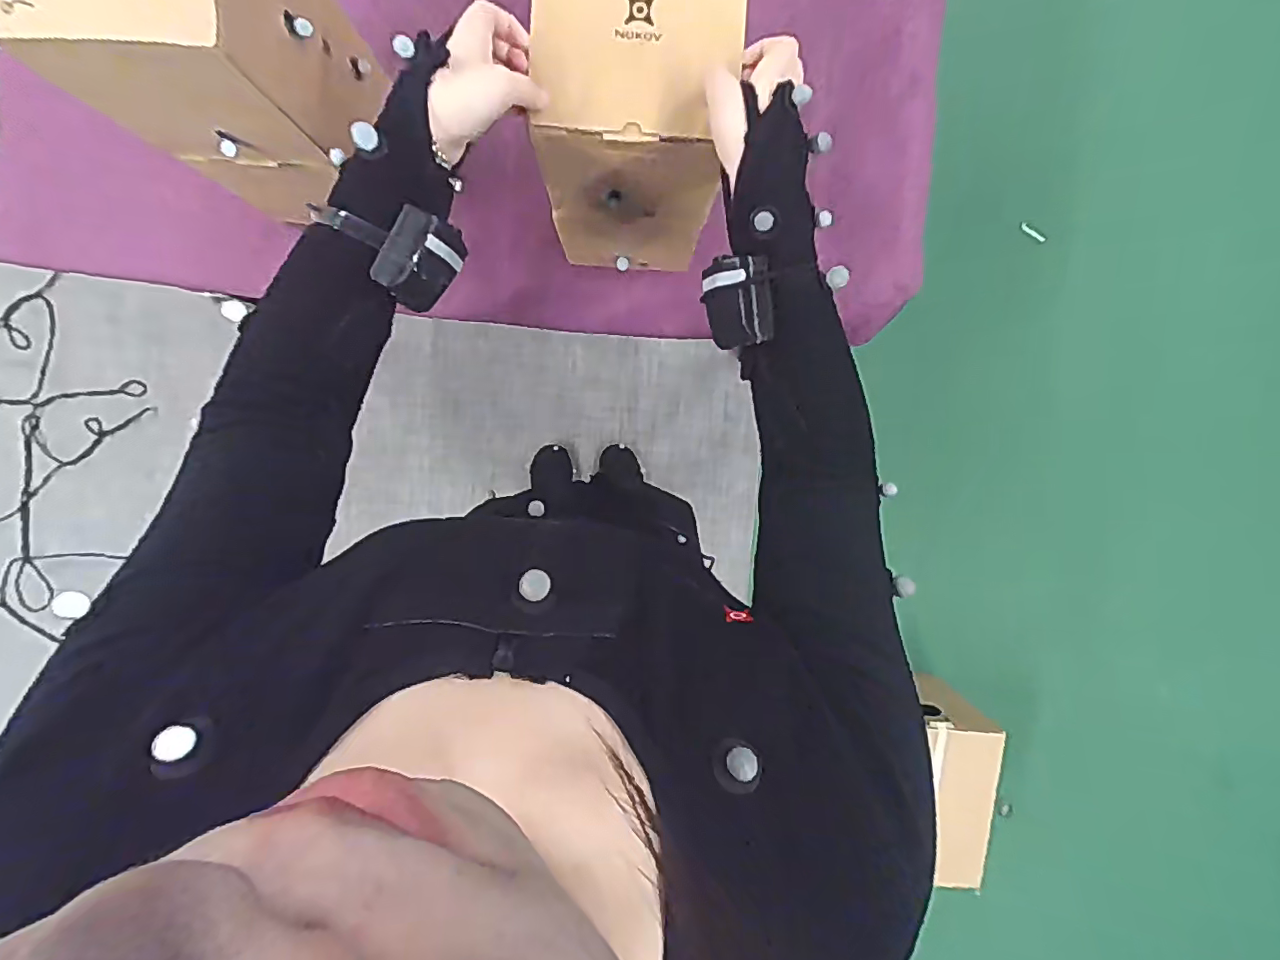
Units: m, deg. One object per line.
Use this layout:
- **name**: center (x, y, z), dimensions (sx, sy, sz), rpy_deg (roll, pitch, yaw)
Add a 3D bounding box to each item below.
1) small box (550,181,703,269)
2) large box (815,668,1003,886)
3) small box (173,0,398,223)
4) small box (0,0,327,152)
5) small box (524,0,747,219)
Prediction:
- **small box**: center (-0.010, -0.372, 0.647), dimensions (0.168, 0.176, 0.179), rpy_deg (4, 96, -1)
- **large box**: center (0.682, 0.756, 1.429), dimensions (0.320, 0.320, 0.408), rpy_deg (6, 96, -1)
- **small box**: center (-0.401, -0.429, 0.635), dimensions (0.168, 0.176, 0.179), rpy_deg (3, 94, -1)
- **small box**: center (-0.400, -0.415, 0.472), dimensions (0.179, 0.176, 0.168), rpy_deg (2, 94, -1)
- **small box**: center (-0.004, -0.361, 0.484), dimensions (0.168, 0.176, 0.179), rpy_deg (3, 96, -2)
